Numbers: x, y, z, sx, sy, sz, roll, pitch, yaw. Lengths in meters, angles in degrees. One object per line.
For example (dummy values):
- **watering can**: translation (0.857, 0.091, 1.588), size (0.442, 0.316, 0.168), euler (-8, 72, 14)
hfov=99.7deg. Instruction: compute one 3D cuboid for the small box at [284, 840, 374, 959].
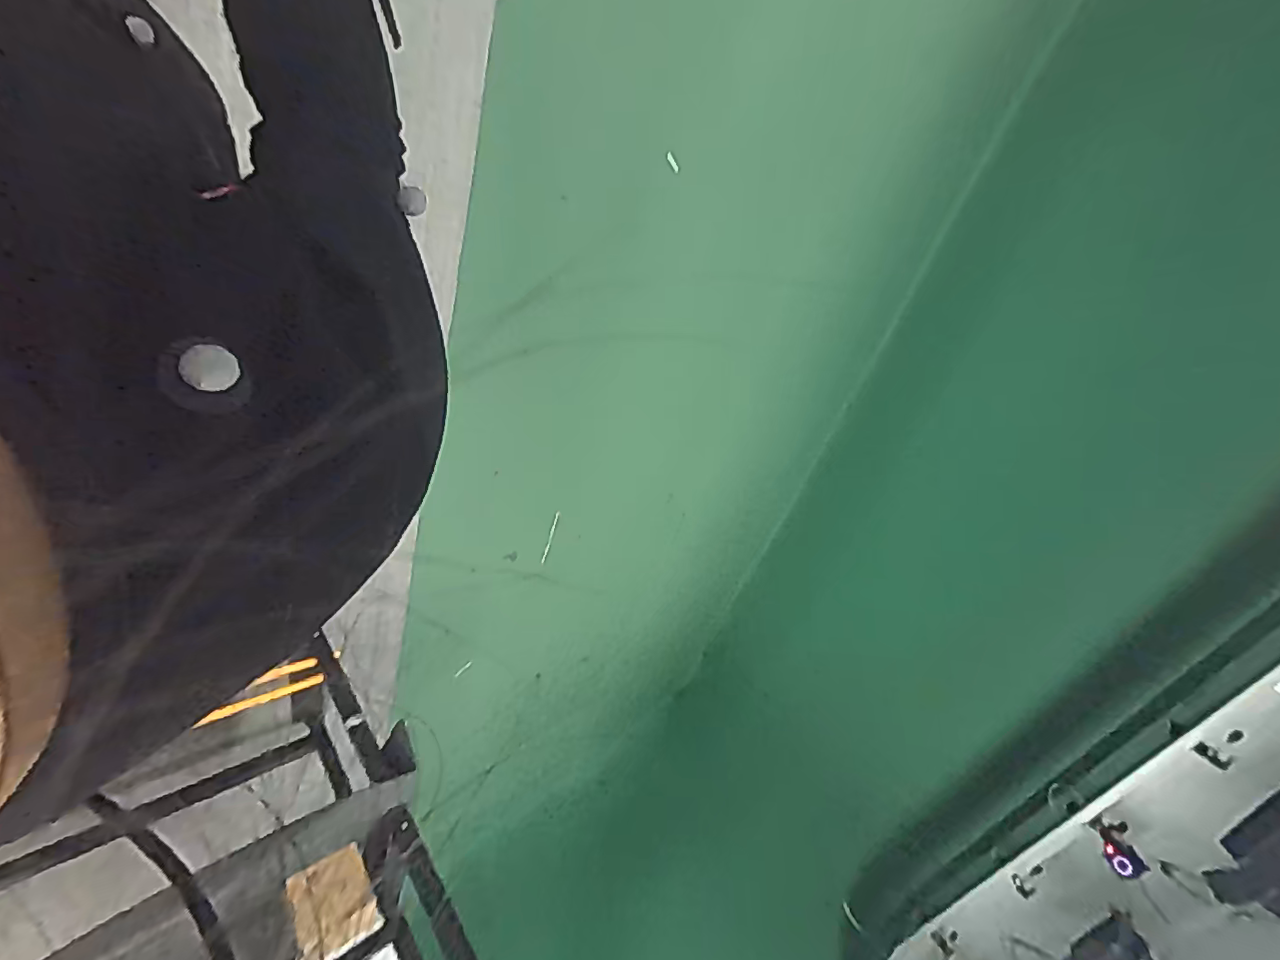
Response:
- **small box**: translation (-0.820, 1.096, 1.423), size (0.168, 0.176, 0.179), euler (-14, 135, -43)
